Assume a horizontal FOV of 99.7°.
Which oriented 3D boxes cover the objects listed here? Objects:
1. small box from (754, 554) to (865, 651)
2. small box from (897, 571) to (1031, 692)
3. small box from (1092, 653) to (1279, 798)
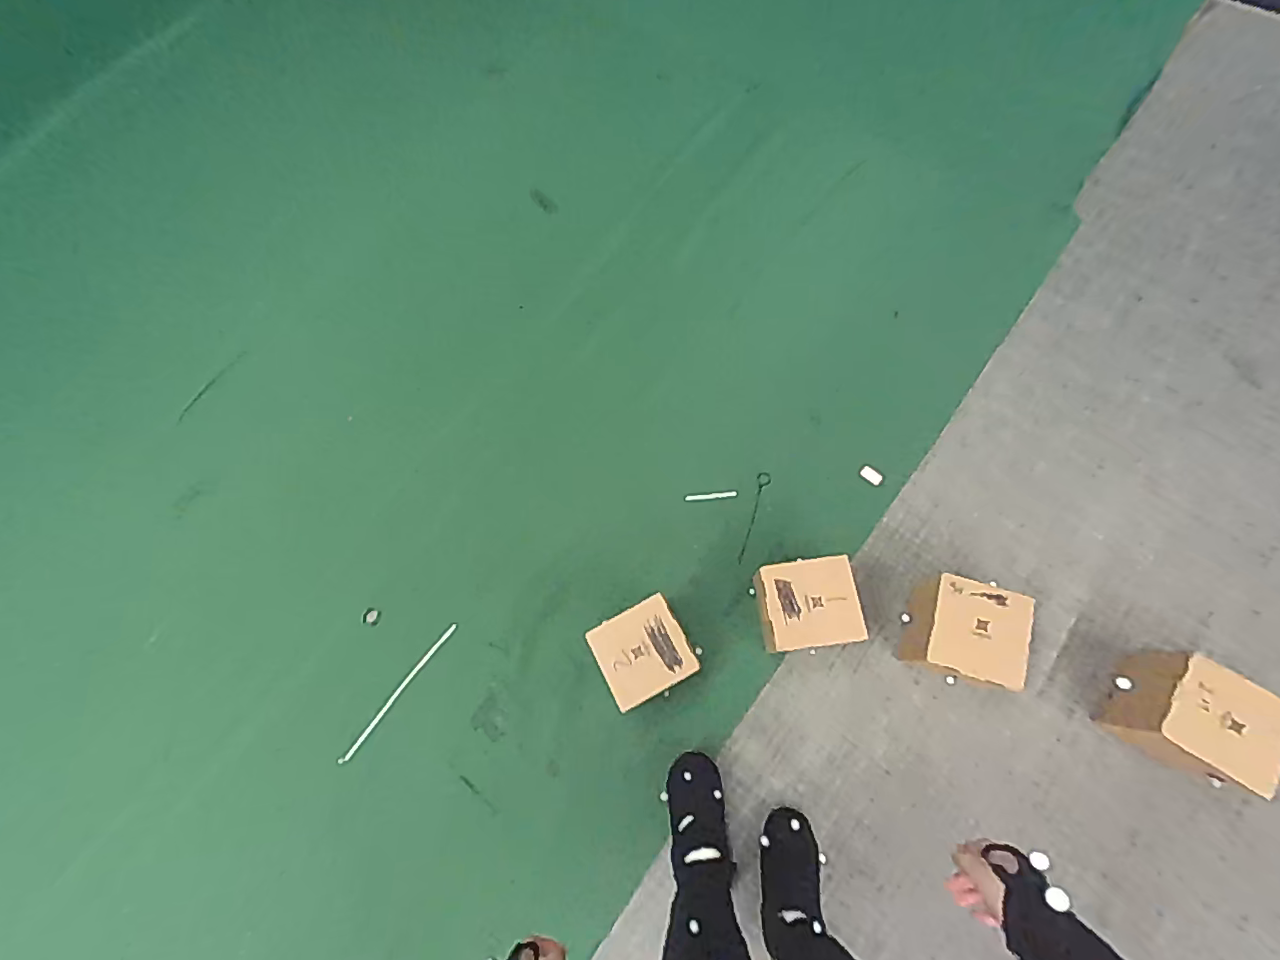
[{"bbox_3d":[0.338,0.260,1.120,0.179,0.176,0.168,-9,72,3],"label":"small box"},{"bbox_3d":[0.631,0.299,1.073,0.168,0.176,0.179,17,76,12],"label":"small box"},{"bbox_3d":[0.997,0.432,0.987,0.179,0.176,0.168,33,78,15],"label":"small box"}]
